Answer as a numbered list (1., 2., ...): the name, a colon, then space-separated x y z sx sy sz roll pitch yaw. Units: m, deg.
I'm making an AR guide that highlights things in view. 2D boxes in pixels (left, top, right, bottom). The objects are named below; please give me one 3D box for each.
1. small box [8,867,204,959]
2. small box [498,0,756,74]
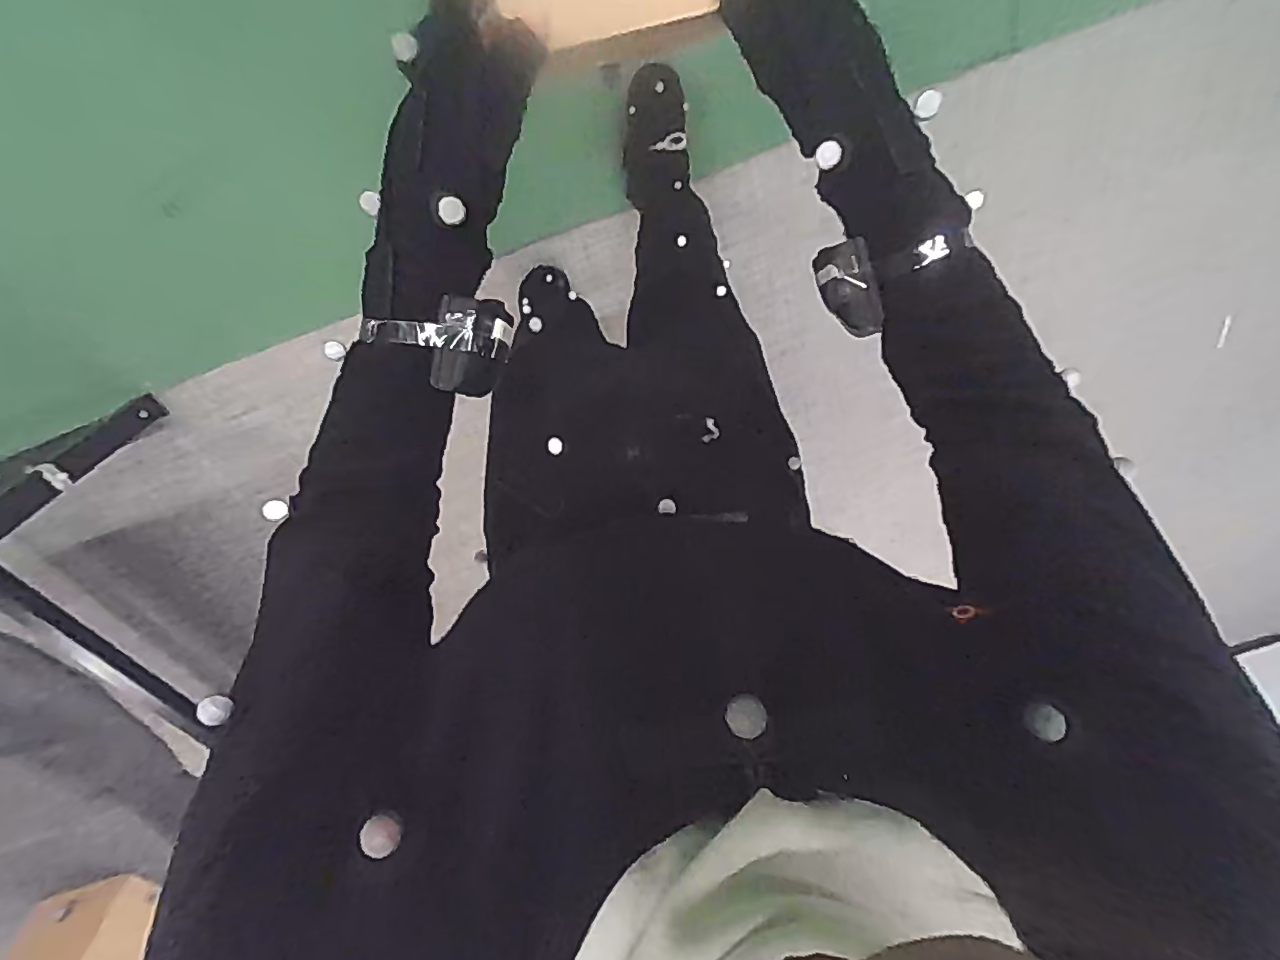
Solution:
1. small box: -0.880 0.775 0.883 0.179 0.176 0.168 -19 124 3
2. small box: -0.021 -0.390 0.344 0.168 0.176 0.179 -11 121 1
